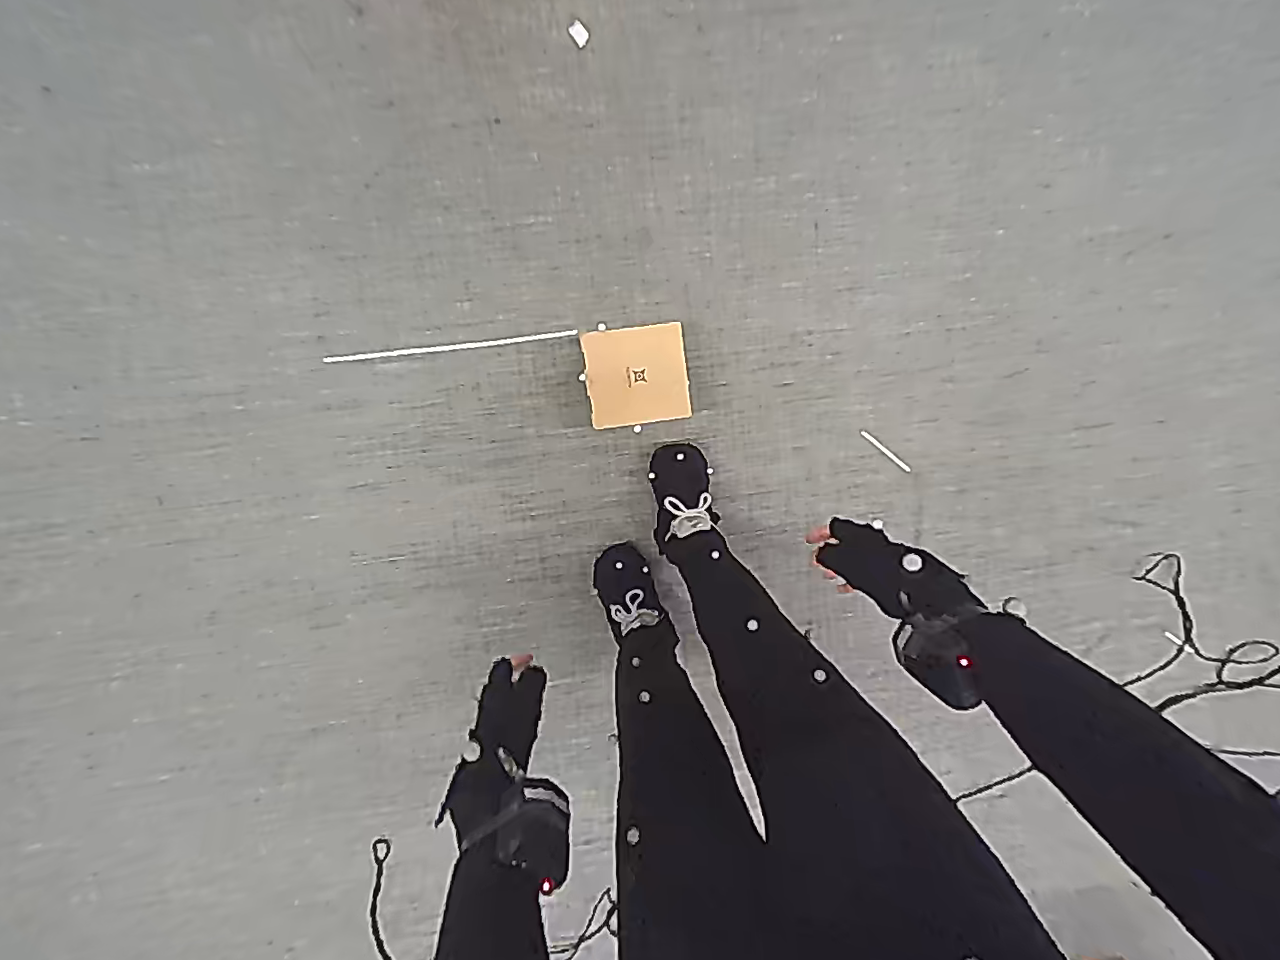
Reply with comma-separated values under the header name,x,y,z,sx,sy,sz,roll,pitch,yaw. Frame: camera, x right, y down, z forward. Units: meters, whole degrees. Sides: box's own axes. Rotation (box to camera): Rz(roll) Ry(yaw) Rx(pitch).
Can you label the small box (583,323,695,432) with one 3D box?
name,x,y,z,sx,sy,sz,roll,pitch,yaw
small box,-0.007,-0.187,0.986,0.179,0.176,0.168,-8,100,-2
